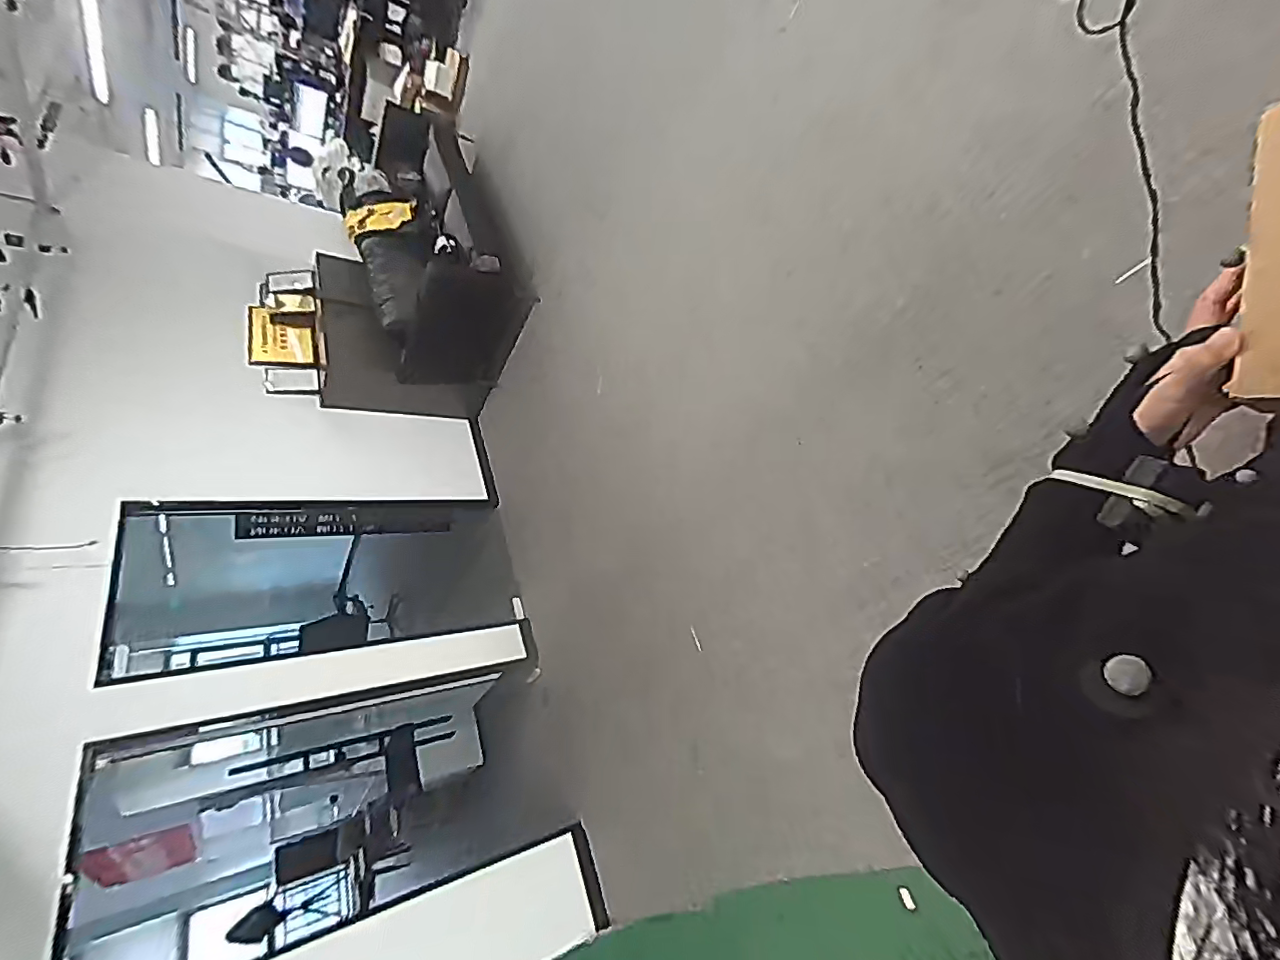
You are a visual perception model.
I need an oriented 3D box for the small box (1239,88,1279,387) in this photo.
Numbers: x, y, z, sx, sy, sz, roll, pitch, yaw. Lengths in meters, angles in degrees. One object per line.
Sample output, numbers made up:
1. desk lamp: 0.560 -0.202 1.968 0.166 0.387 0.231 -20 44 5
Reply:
1. small box: 0.488 -0.144 0.314 0.168 0.176 0.179 7 98 54
